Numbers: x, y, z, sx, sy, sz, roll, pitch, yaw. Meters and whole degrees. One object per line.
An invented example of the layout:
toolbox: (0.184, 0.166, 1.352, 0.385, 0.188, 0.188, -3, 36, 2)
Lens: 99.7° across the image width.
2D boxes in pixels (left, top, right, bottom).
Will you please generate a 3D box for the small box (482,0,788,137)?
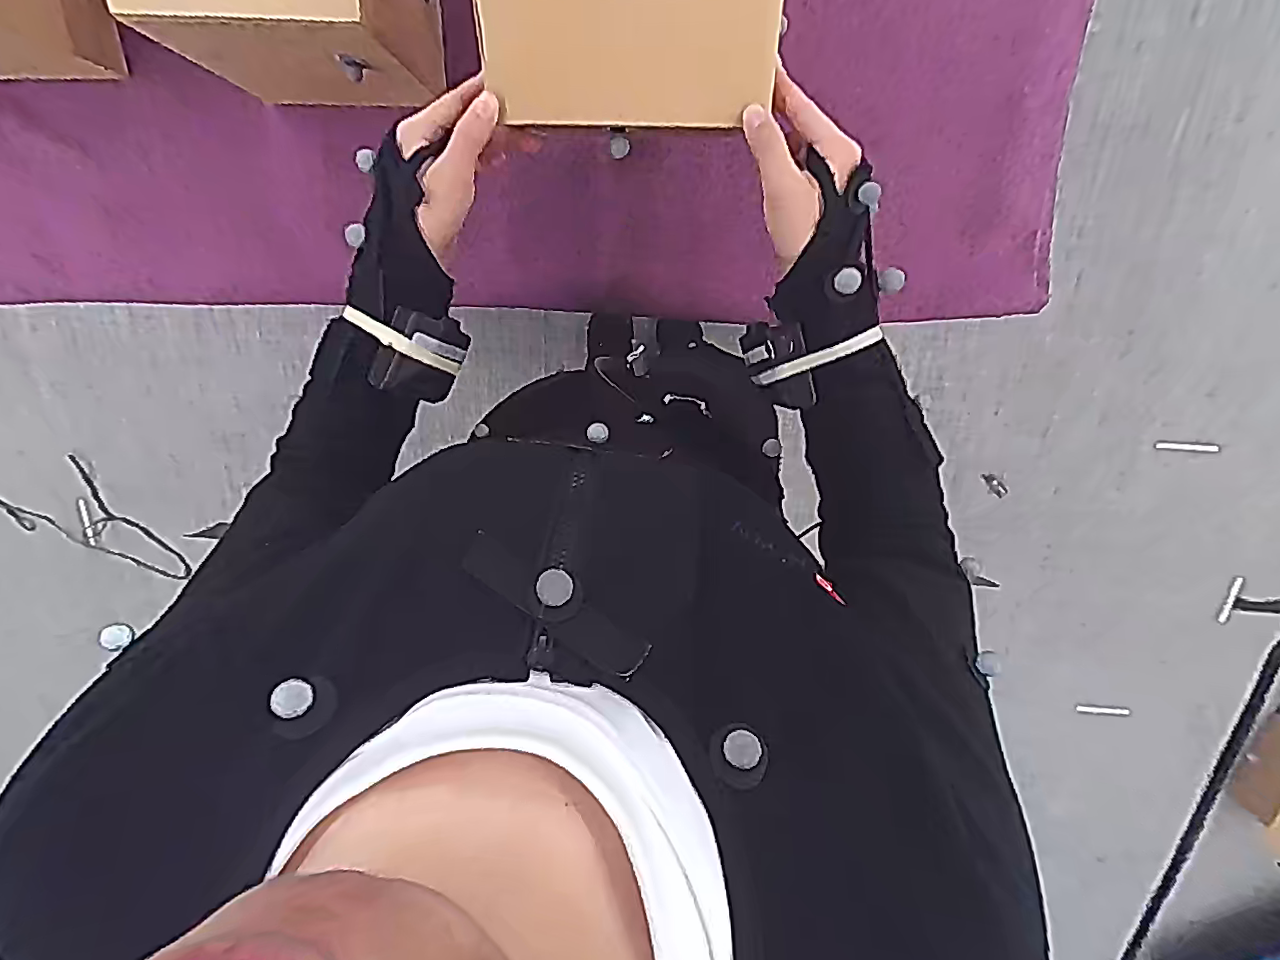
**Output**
small box: (-0.001, -0.333, 0.362, 0.179, 0.176, 0.168, 2, 120, 2)

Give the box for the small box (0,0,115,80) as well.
small box: (-0.571, -0.440, 0.420, 0.179, 0.176, 0.168, 0, 107, -1)
